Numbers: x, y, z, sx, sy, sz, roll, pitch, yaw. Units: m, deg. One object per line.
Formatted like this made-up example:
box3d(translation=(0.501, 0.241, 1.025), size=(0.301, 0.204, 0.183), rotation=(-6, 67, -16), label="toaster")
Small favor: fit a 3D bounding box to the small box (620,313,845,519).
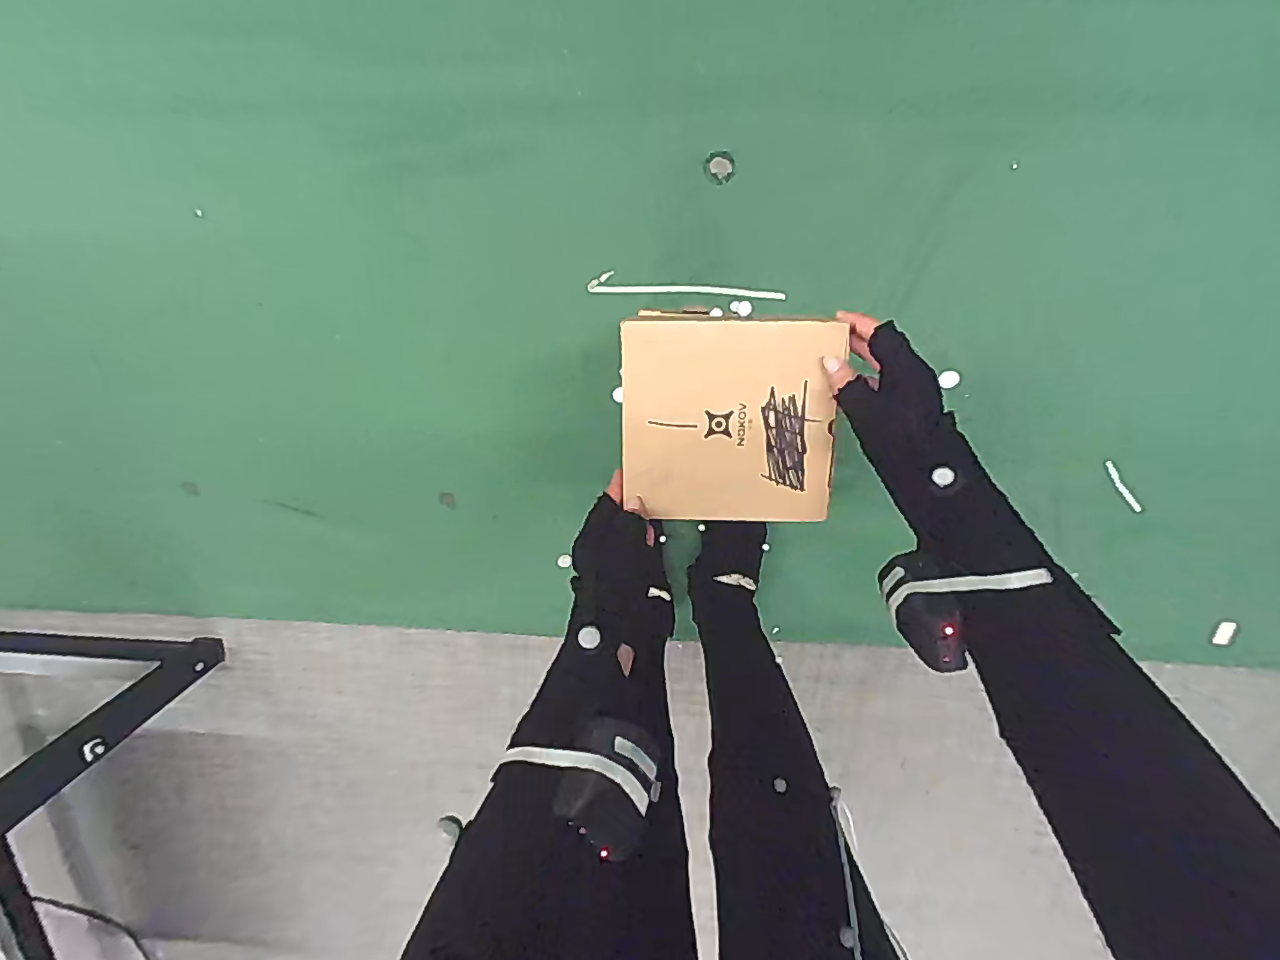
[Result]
box3d(translation=(0.074, -0.071, 0.516), size=(0.179, 0.176, 0.168), rotation=(1, 108, 4), label="small box")
